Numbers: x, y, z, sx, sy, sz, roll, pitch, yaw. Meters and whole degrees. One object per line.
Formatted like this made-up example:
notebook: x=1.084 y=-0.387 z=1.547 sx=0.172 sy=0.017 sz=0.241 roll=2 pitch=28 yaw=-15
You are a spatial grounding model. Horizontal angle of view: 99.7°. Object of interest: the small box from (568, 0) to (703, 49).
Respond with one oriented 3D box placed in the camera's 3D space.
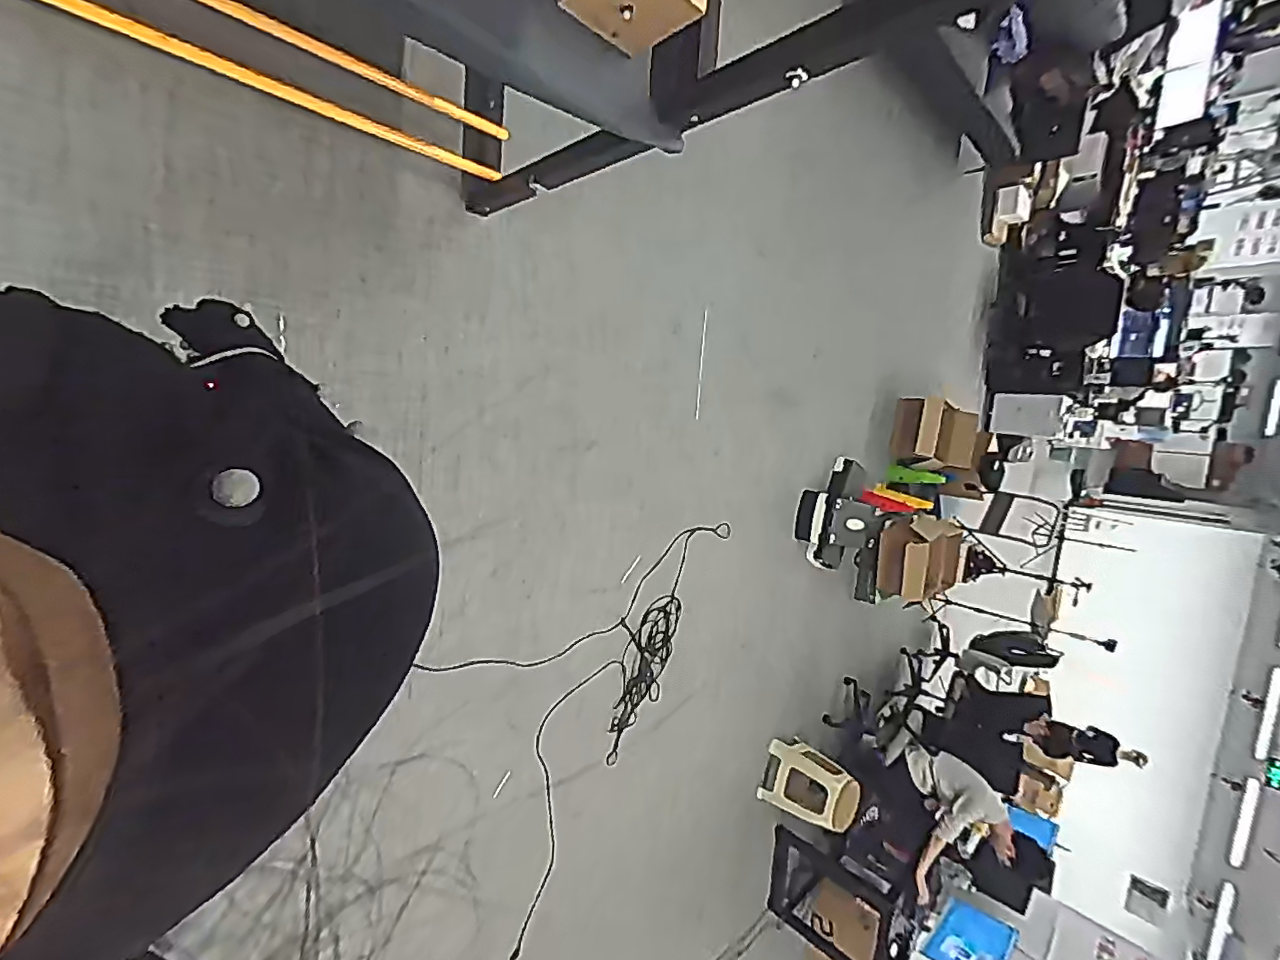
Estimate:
small box: x=-0.012 y=-0.815 z=0.824 sx=0.168 sy=0.176 sz=0.179 roll=-3 pitch=99 yaw=-45
